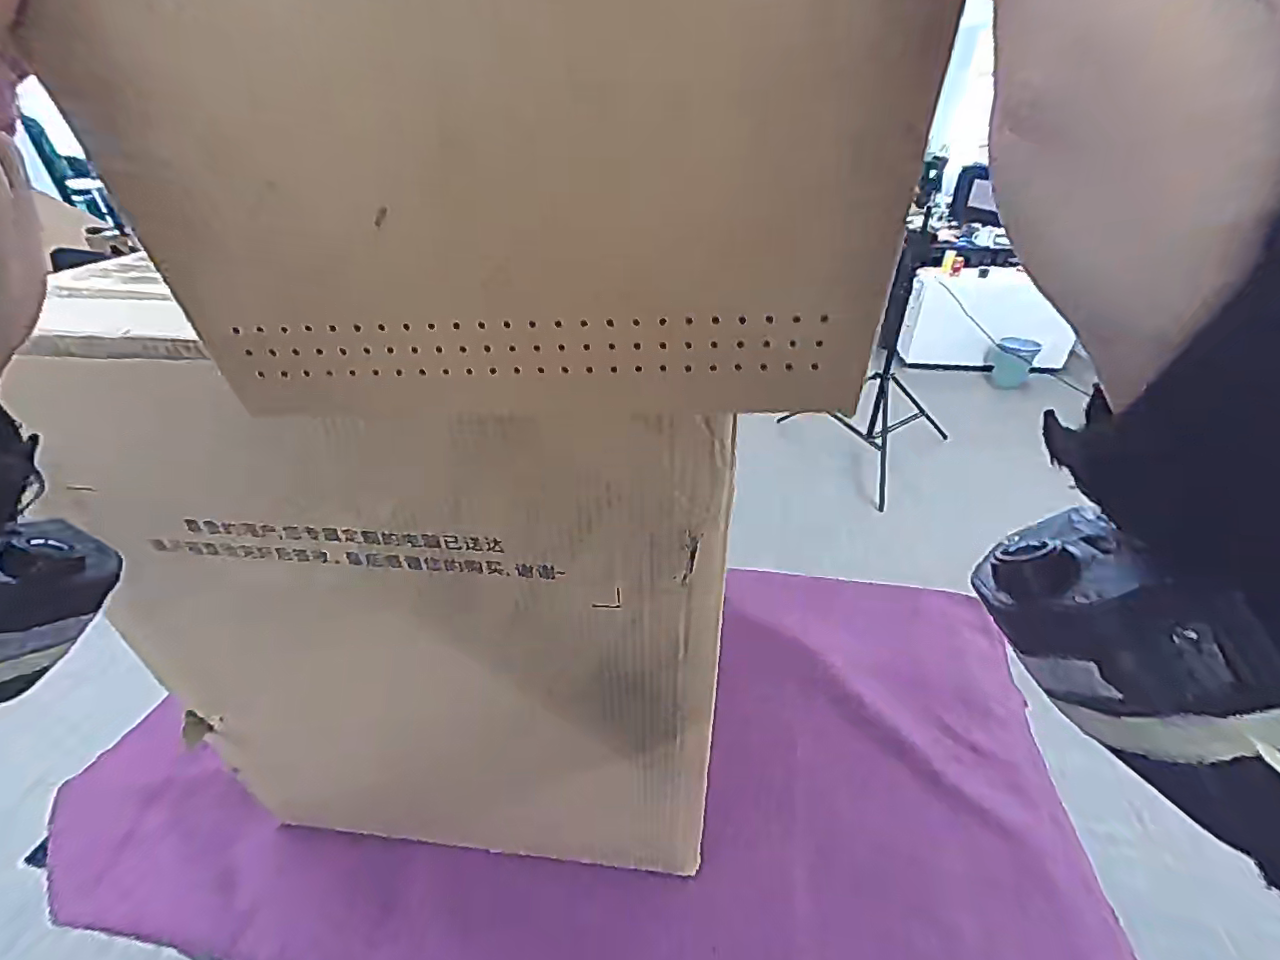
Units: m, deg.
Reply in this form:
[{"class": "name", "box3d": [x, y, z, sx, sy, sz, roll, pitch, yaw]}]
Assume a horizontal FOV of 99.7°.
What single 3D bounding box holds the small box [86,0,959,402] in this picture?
[{"class": "small box", "box3d": [-0.021, -0.135, 0.158, 0.179, 0.176, 0.168, 1, 42, 3]}]
